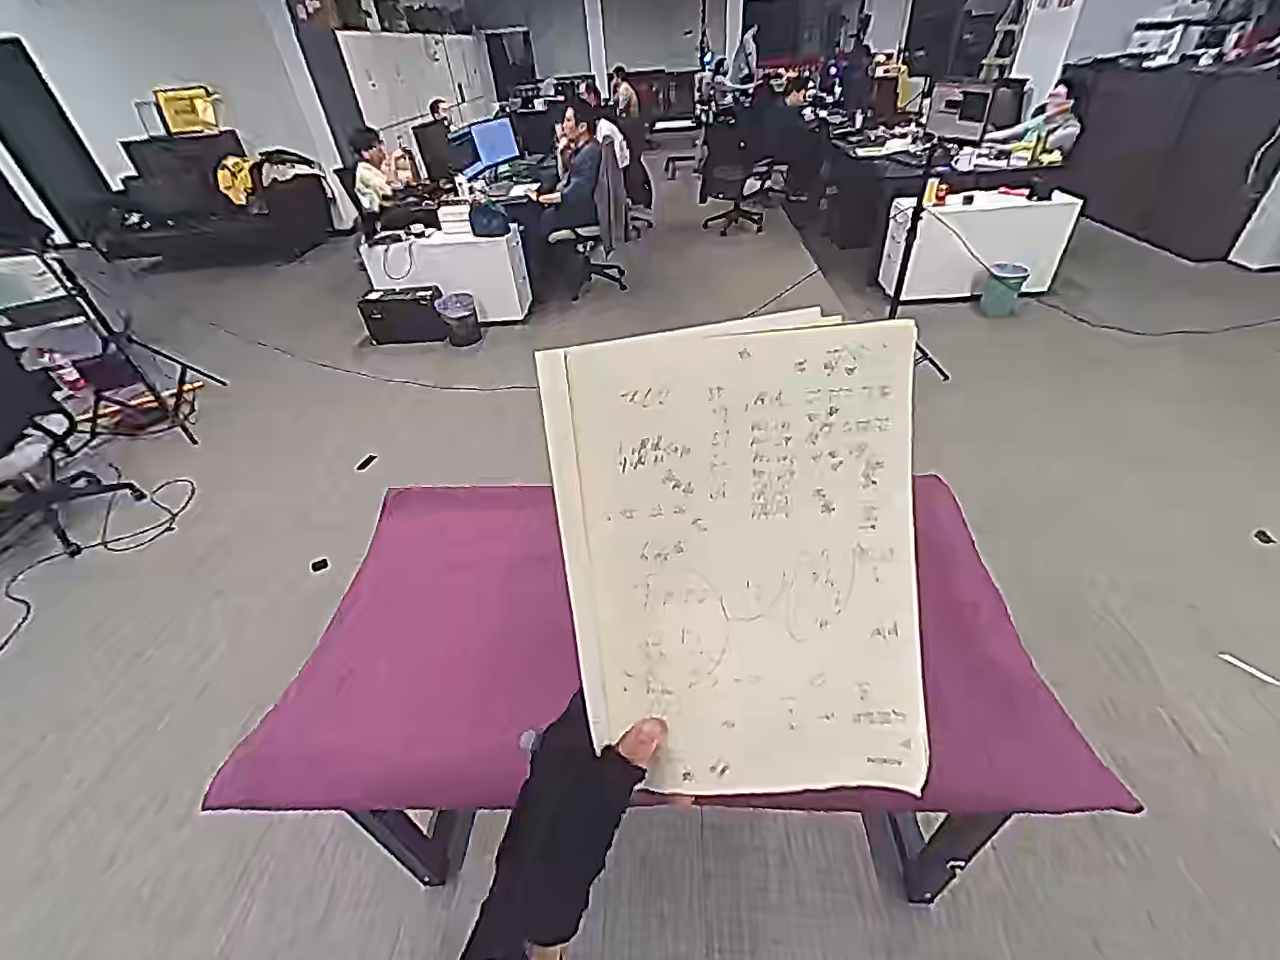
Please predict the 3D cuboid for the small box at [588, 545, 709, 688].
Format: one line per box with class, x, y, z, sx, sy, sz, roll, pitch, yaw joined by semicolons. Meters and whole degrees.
small box;0.018;0.224;0.888;0.179;0.176;0.168;-2;38;4
